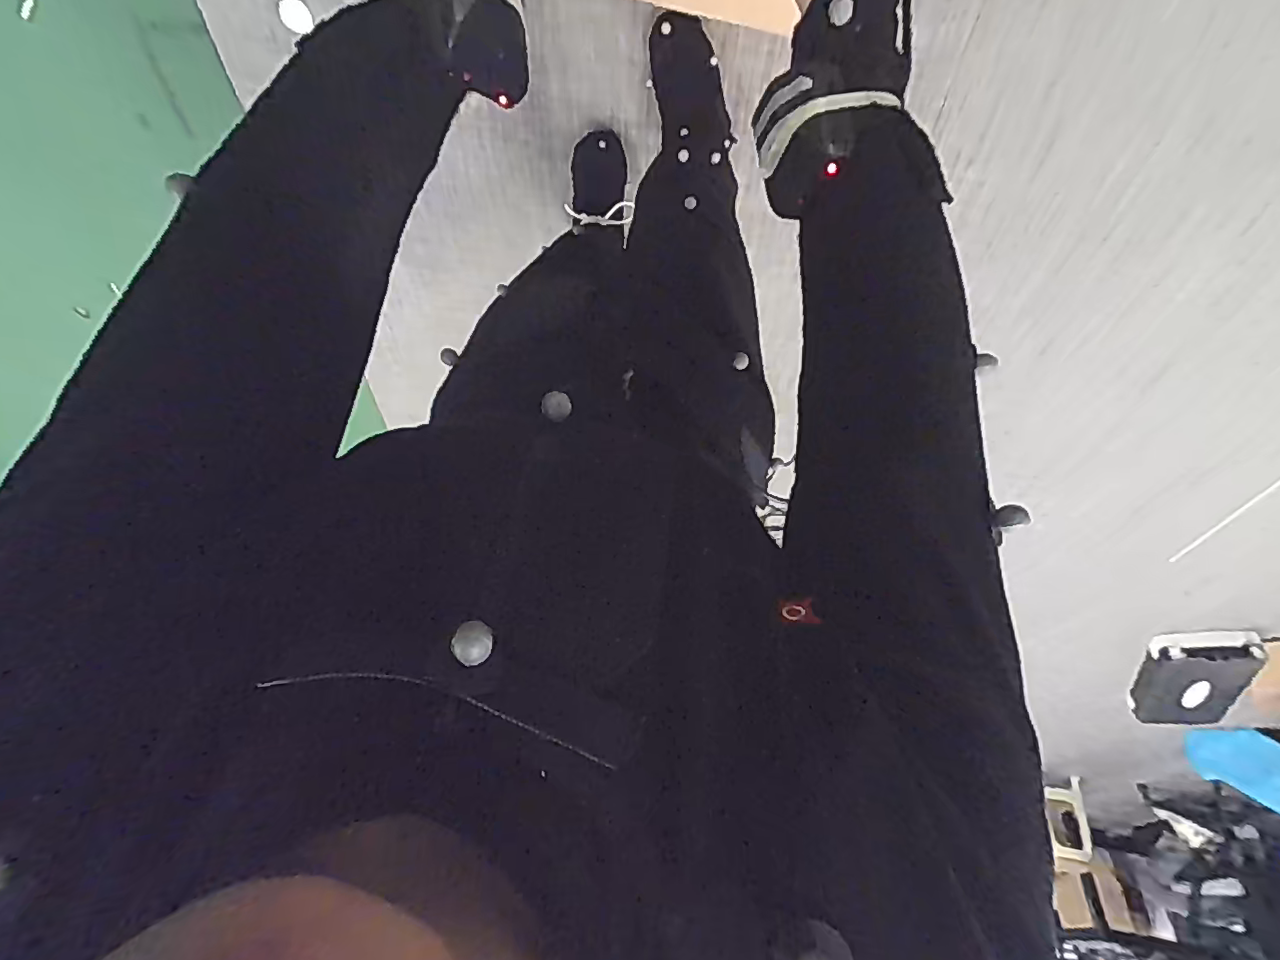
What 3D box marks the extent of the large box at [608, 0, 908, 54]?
[{"bbox_3d":[0.144,-0.762,0.637,0.408,0.320,0.320,11,140,-2],"label":"large box"}]
